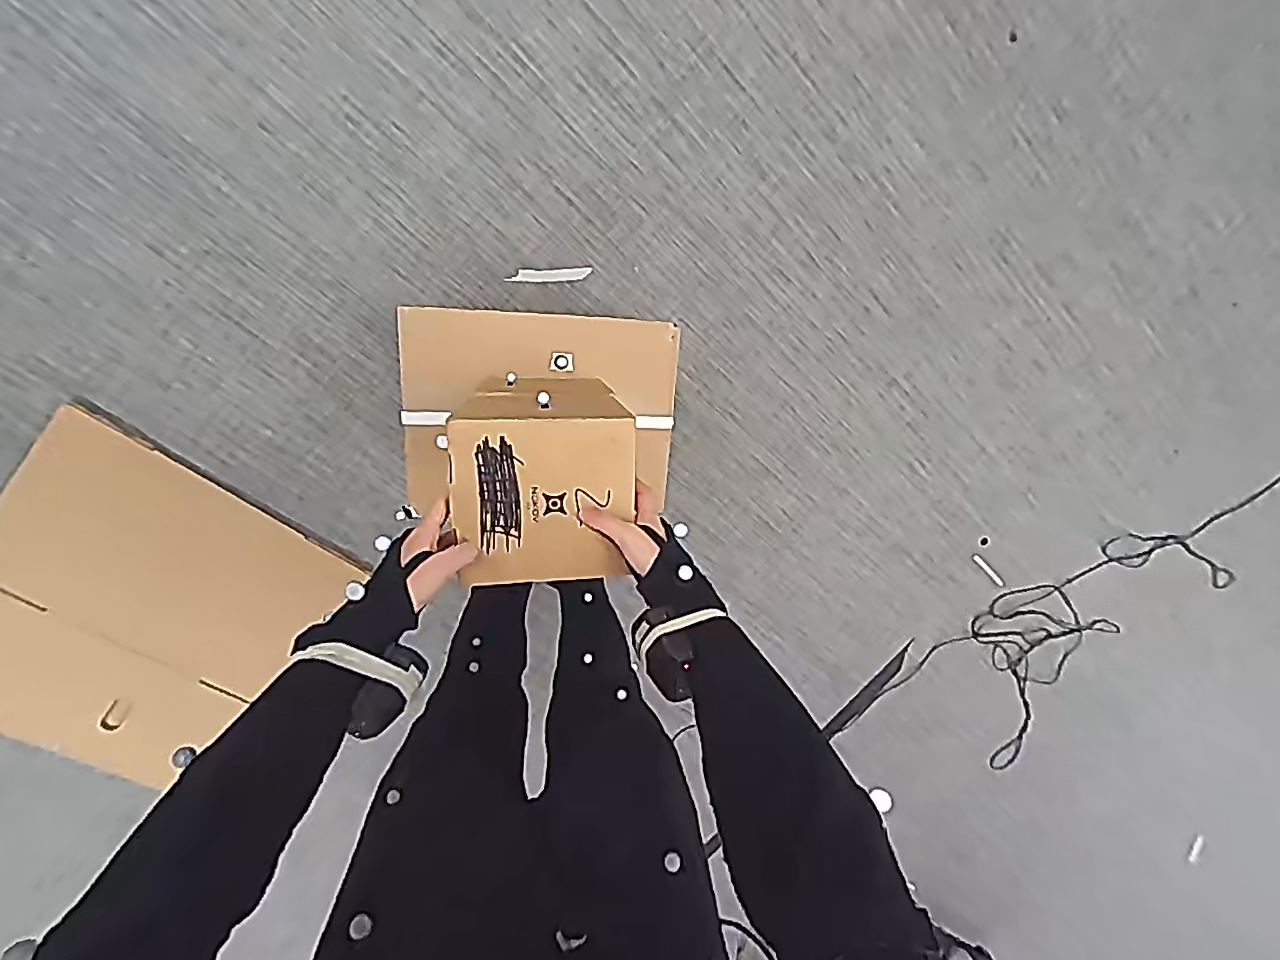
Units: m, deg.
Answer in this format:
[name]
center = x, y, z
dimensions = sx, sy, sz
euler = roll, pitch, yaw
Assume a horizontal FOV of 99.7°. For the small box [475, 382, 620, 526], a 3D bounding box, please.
[small box]
center = -0.125, -0.044, 0.751
dimensions = 0.179, 0.176, 0.168
euler = -2, 107, -11
